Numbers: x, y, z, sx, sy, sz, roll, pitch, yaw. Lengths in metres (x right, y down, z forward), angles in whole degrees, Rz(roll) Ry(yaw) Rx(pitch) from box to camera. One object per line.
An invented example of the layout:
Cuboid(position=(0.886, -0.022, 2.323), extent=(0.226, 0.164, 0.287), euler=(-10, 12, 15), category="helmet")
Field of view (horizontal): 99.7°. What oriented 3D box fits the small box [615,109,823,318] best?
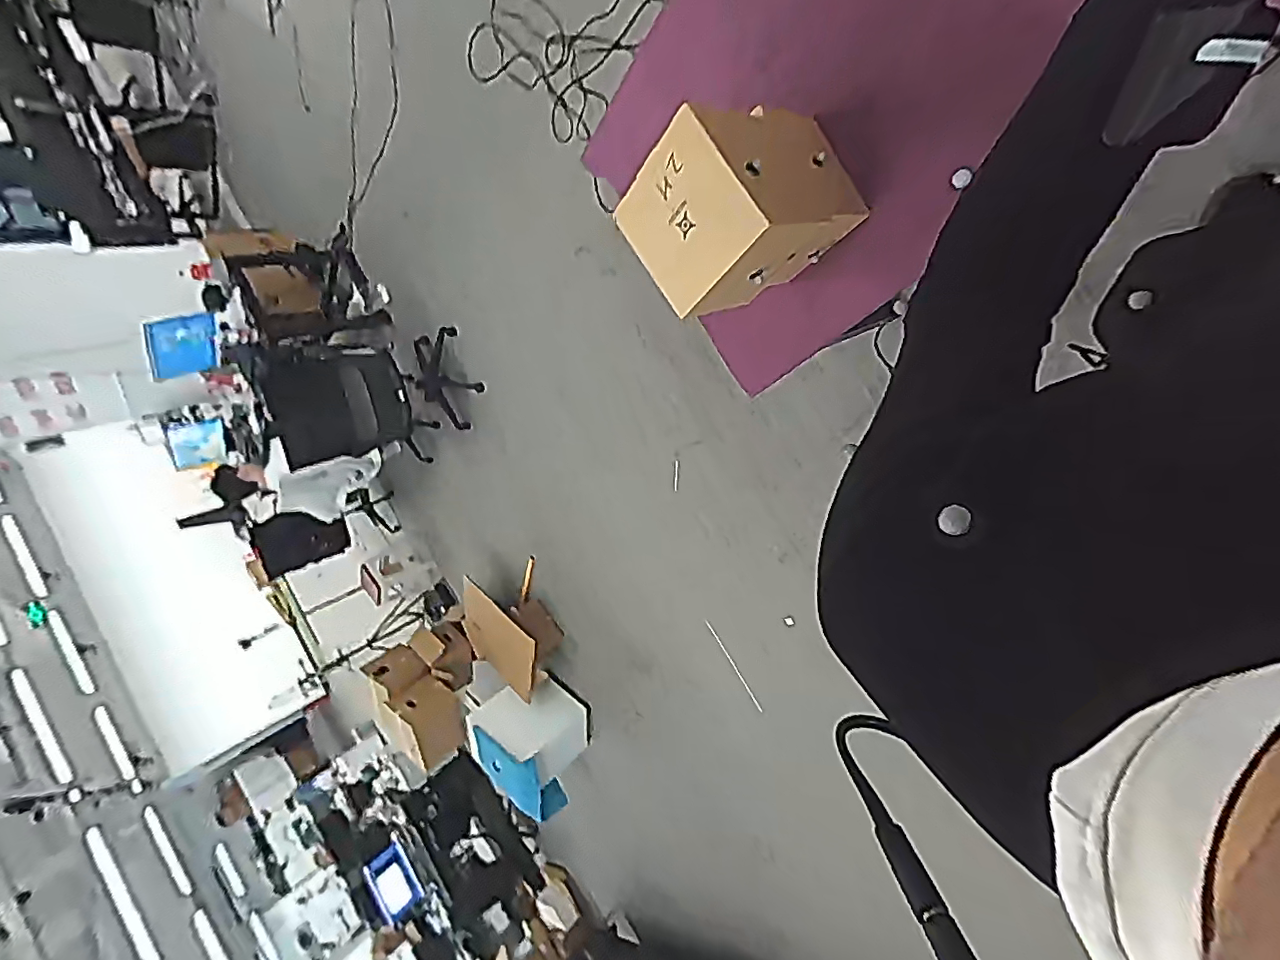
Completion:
Cuboid(position=(0.107, -0.346, 0.714), extent=(0.168, 0.176, 0.179), euler=(-37, 83, 47), category="small box")
